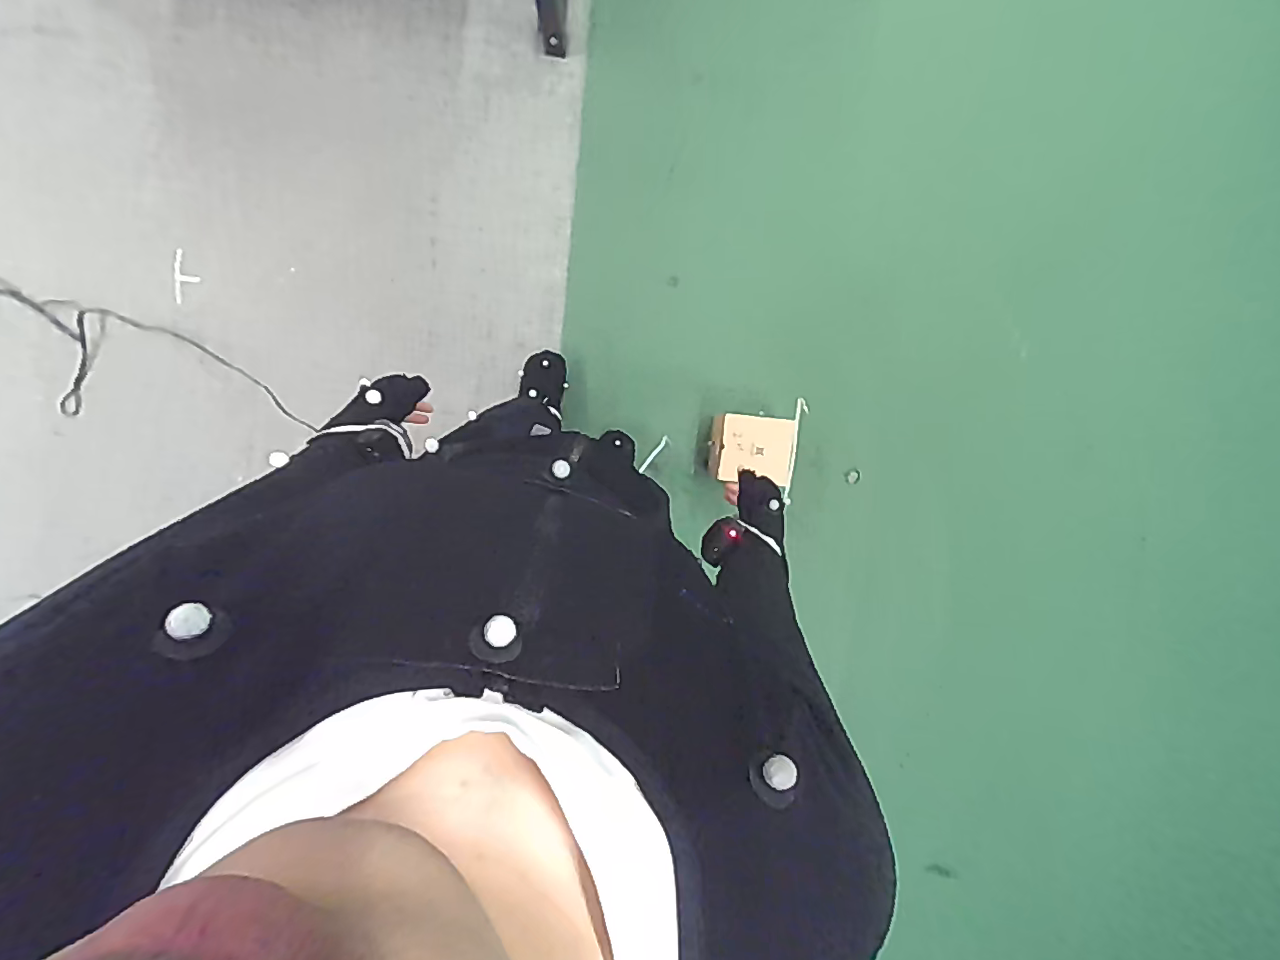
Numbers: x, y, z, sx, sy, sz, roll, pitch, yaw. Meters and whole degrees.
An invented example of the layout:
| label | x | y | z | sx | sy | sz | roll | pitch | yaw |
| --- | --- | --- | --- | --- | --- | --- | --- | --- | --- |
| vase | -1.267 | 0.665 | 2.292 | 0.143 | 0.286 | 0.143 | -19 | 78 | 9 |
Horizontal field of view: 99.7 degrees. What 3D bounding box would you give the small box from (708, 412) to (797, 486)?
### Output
| label | x | y | z | sx | sy | sz | roll | pitch | yaw |
| --- | --- | --- | --- | --- | --- | --- | --- | --- | --- |
| small box | 0.283 | -0.085 | 1.390 | 0.179 | 0.176 | 0.168 | 7 | 97 | -2 |
